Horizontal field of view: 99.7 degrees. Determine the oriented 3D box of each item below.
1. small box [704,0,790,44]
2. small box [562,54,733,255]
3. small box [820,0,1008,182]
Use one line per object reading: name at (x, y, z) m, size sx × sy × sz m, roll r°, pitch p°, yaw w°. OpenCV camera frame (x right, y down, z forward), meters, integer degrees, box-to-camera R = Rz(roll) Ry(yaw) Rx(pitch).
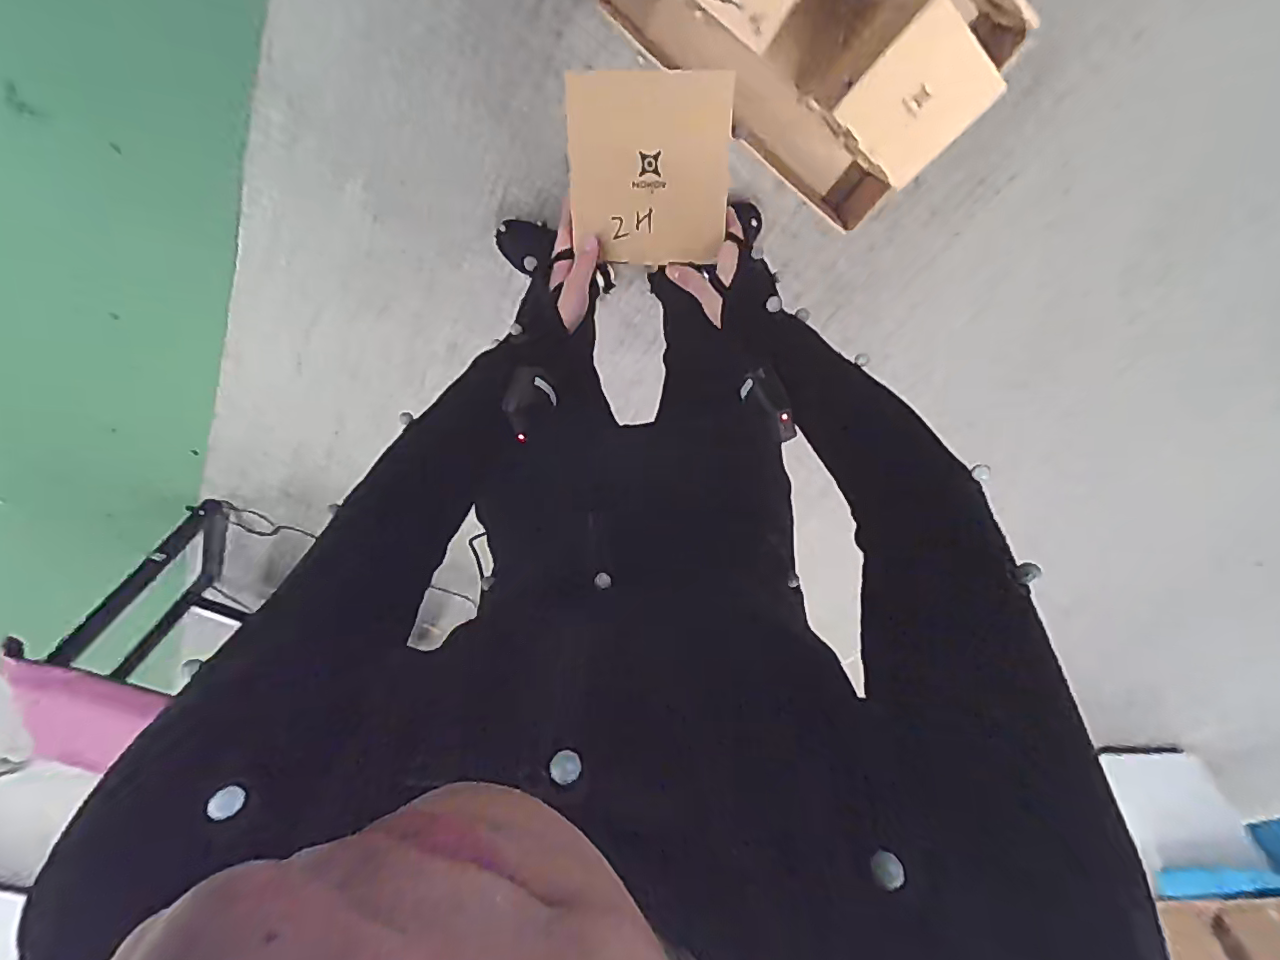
small box at (0.153, -0.740, 0.730) m, size 0.168 × 0.176 × 0.179 m, roll 29°, pitch 127°, yaw -17°
small box at (0.010, -0.357, 0.617) m, size 0.168 × 0.176 × 0.179 m, roll 1°, pitch 117°, yaw 3°
small box at (0.404, -0.607, 0.827) m, size 0.168 × 0.176 × 0.179 m, roll 33°, pitch 127°, yaw -23°
